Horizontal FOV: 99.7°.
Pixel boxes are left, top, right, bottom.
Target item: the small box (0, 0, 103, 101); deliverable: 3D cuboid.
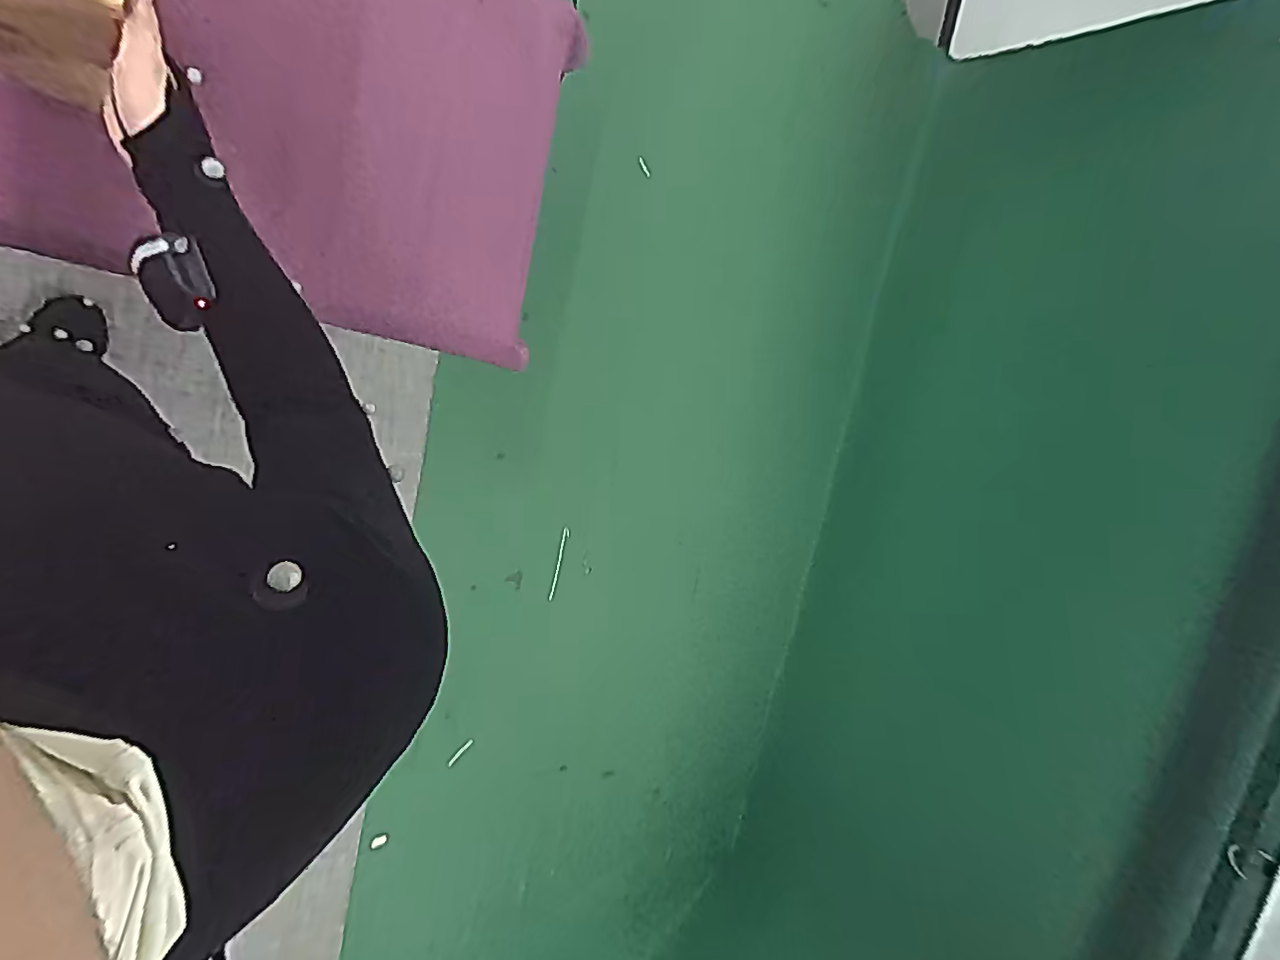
[{"bbox_3d":[-0.585,-0.476,0.468,0.168,0.176,0.179,1,103,-47],"label":"small box"}]
